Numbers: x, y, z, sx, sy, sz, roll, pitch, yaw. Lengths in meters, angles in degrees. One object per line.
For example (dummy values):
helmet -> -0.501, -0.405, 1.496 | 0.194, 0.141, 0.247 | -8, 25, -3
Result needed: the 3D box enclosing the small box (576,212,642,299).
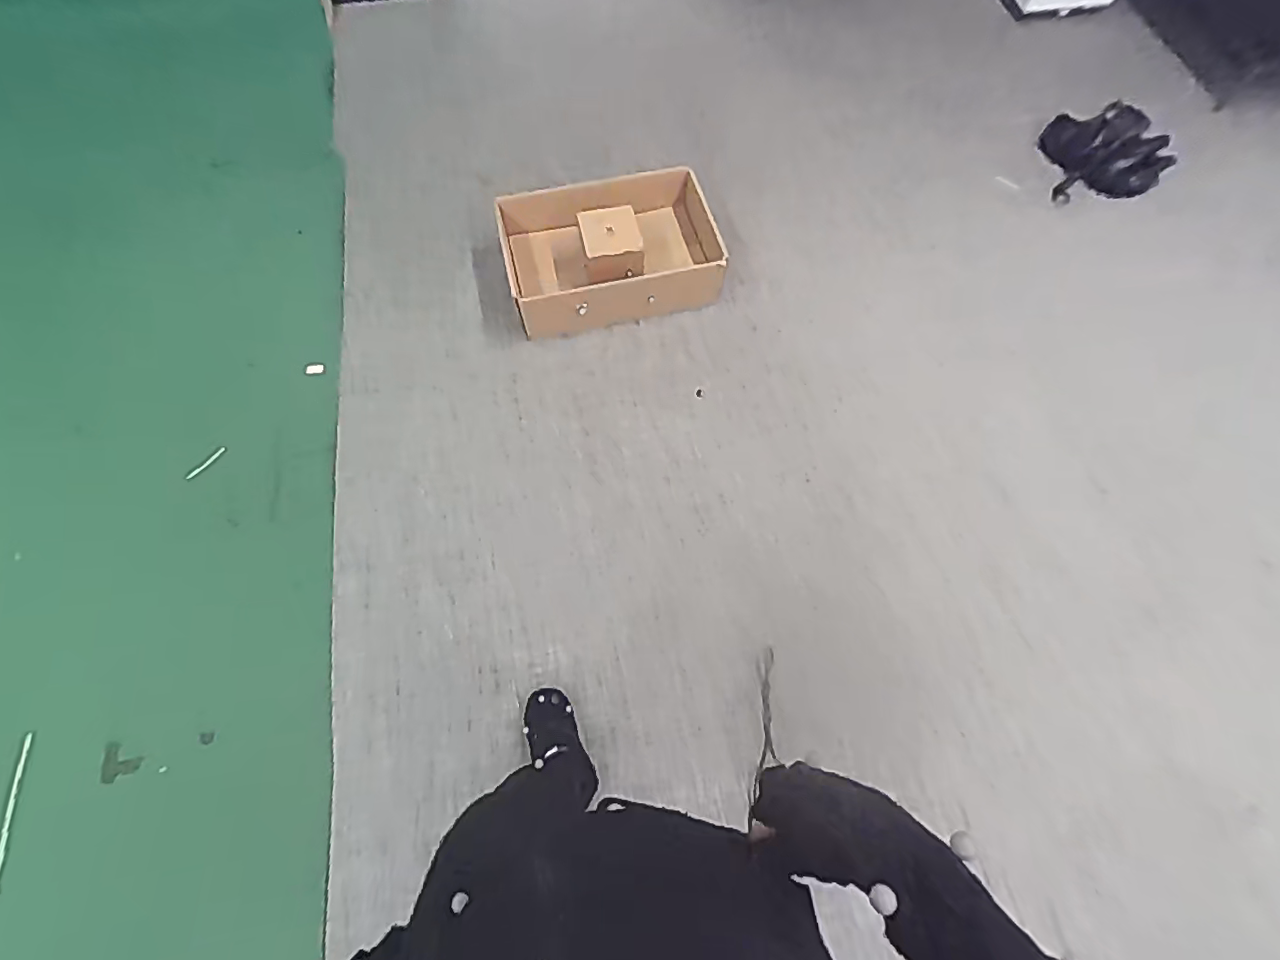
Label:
small box -> -0.090, -0.659, 1.609 | 0.168, 0.176, 0.179 | -11, 66, -7
